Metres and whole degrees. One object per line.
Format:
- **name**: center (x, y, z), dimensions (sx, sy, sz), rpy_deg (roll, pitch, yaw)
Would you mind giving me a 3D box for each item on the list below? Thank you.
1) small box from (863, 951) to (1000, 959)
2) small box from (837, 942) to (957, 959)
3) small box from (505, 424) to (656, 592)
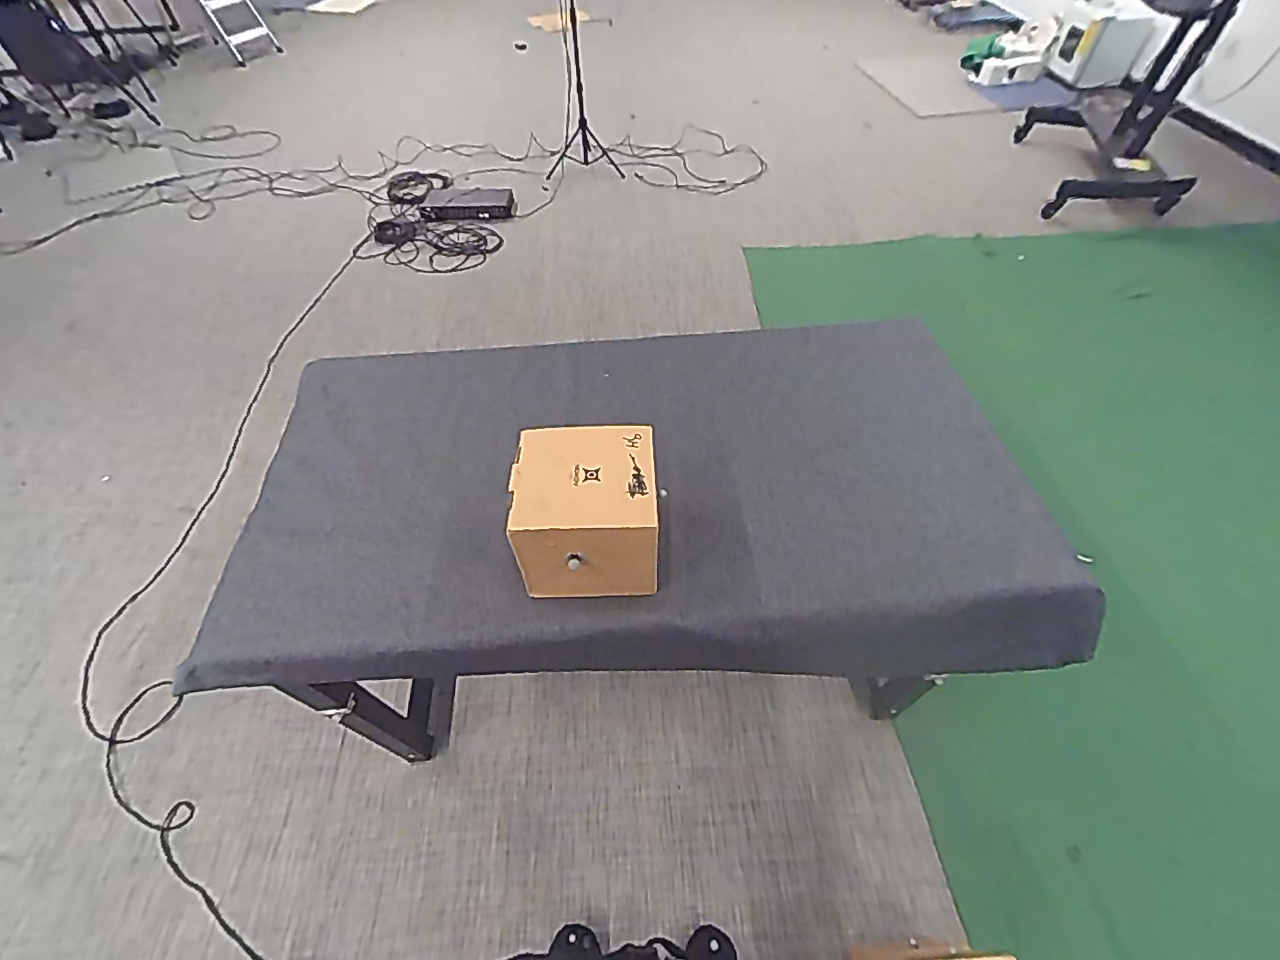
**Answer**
- **small box**: center (0.463, 0.836, 0.828), dimensions (0.179, 0.176, 0.168), rpy_deg (-2, 51, 0)
- **small box**: center (0.475, 0.937, 0.958), dimensions (0.179, 0.176, 0.168), rpy_deg (-5, 51, -1)
- **small box**: center (-0.068, 0.042, 0.734), dimensions (0.179, 0.176, 0.168), rpy_deg (-1, 51, 0)
